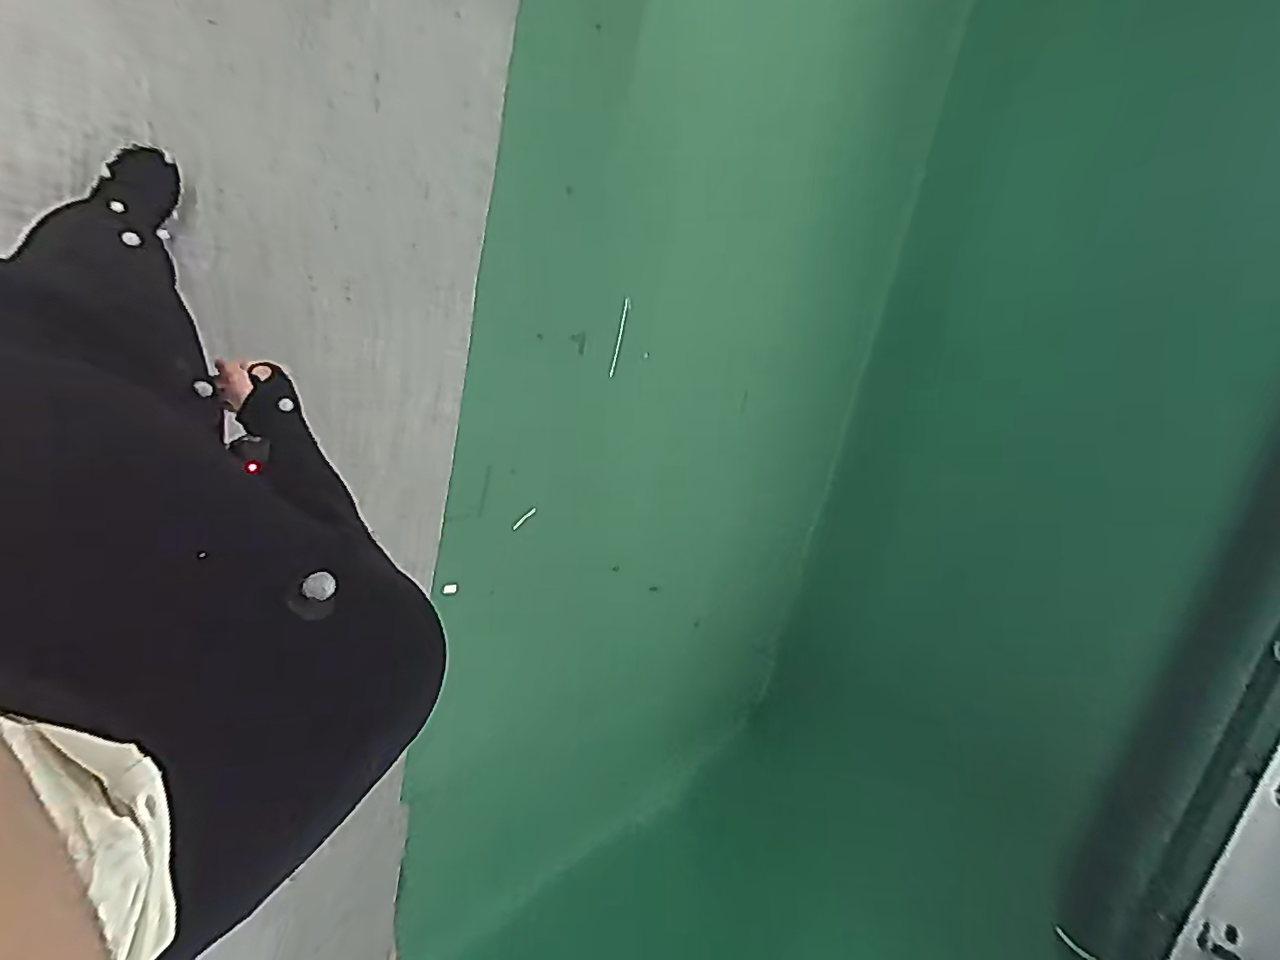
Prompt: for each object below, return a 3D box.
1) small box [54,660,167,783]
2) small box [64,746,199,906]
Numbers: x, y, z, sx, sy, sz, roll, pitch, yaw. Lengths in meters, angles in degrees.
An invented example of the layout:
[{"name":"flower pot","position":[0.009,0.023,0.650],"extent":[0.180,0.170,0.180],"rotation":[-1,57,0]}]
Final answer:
[{"name":"small box","position":[-1.219,0.544,1.246],"extent":[0.168,0.176,0.179],"rotation":[7,104,-49]},{"name":"small box","position":[-0.982,0.647,1.043],"extent":[0.168,0.176,0.179],"rotation":[7,105,-48]}]
